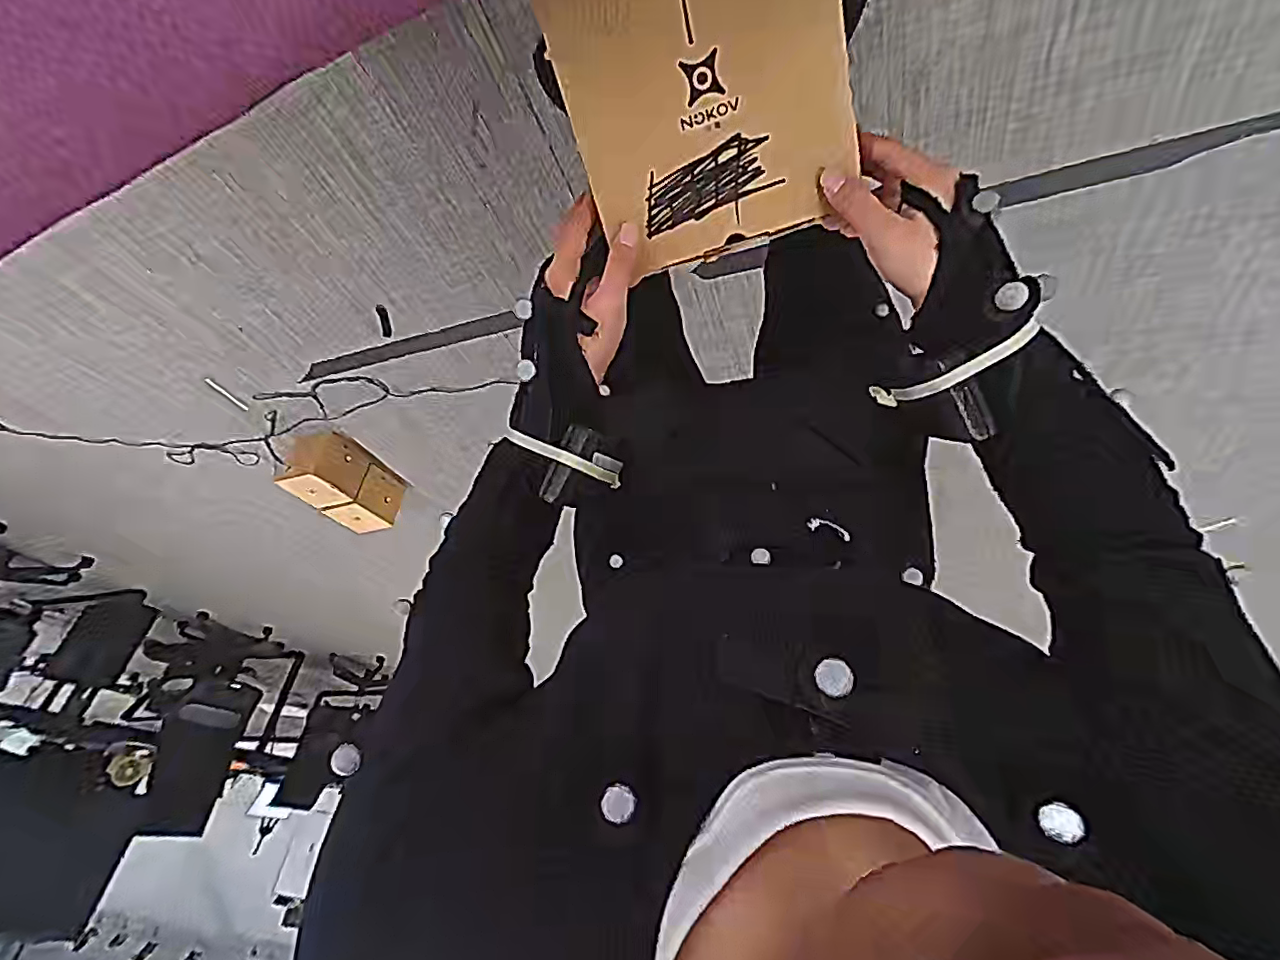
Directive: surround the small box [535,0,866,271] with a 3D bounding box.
[{"bbox_3d":[0.046,-0.270,0.380,0.168,0.176,0.179,-13,116,13],"label":"small box"}]
